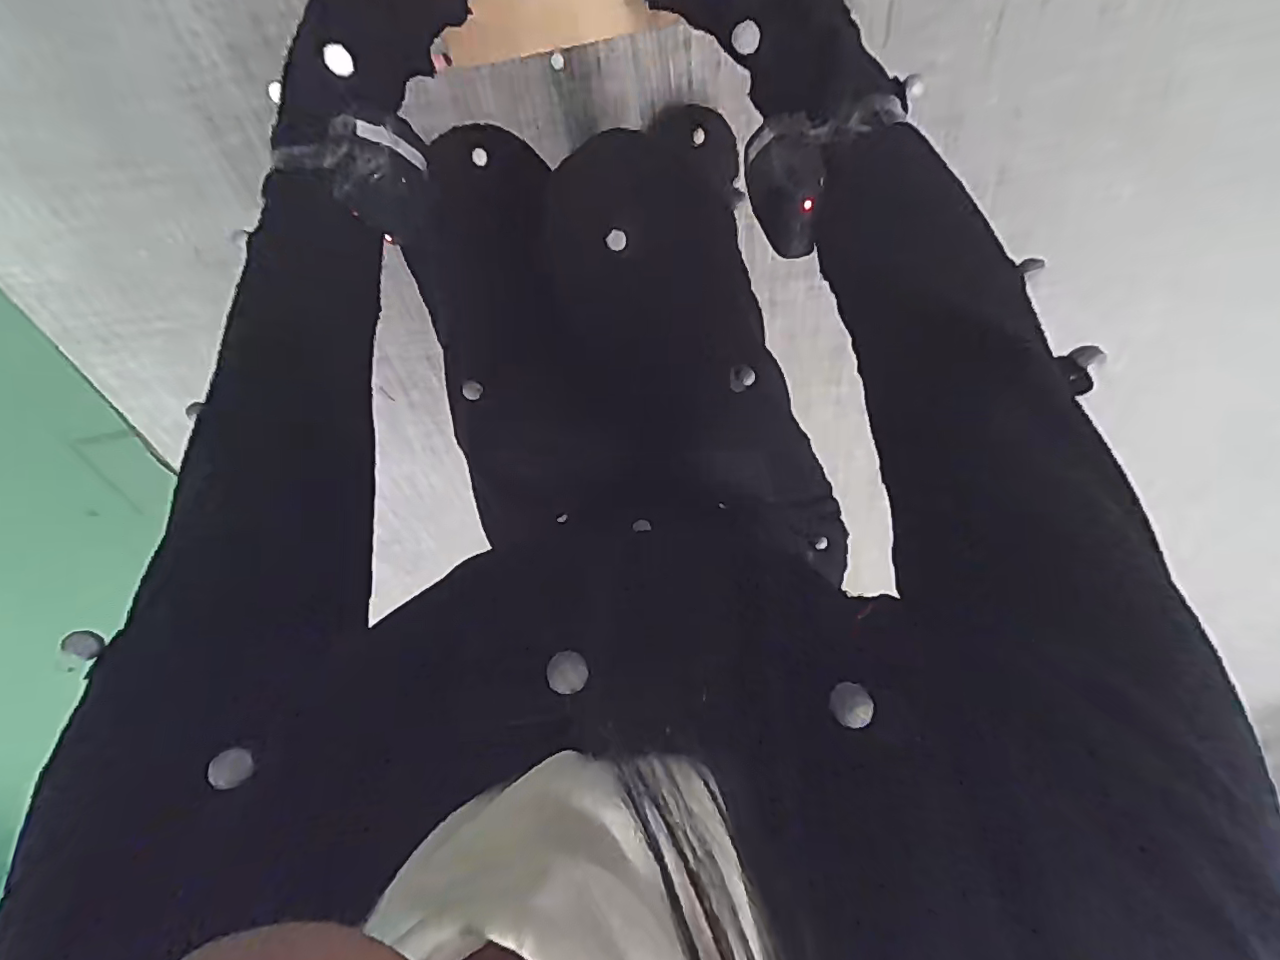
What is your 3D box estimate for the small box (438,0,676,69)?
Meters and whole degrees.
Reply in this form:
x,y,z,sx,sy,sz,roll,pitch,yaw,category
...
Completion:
x,y,z,sx,sy,sz,roll,pitch,yaw,category
-0.070,-0.443,0.424,0.179,0.176,0.168,-8,131,5,small box
